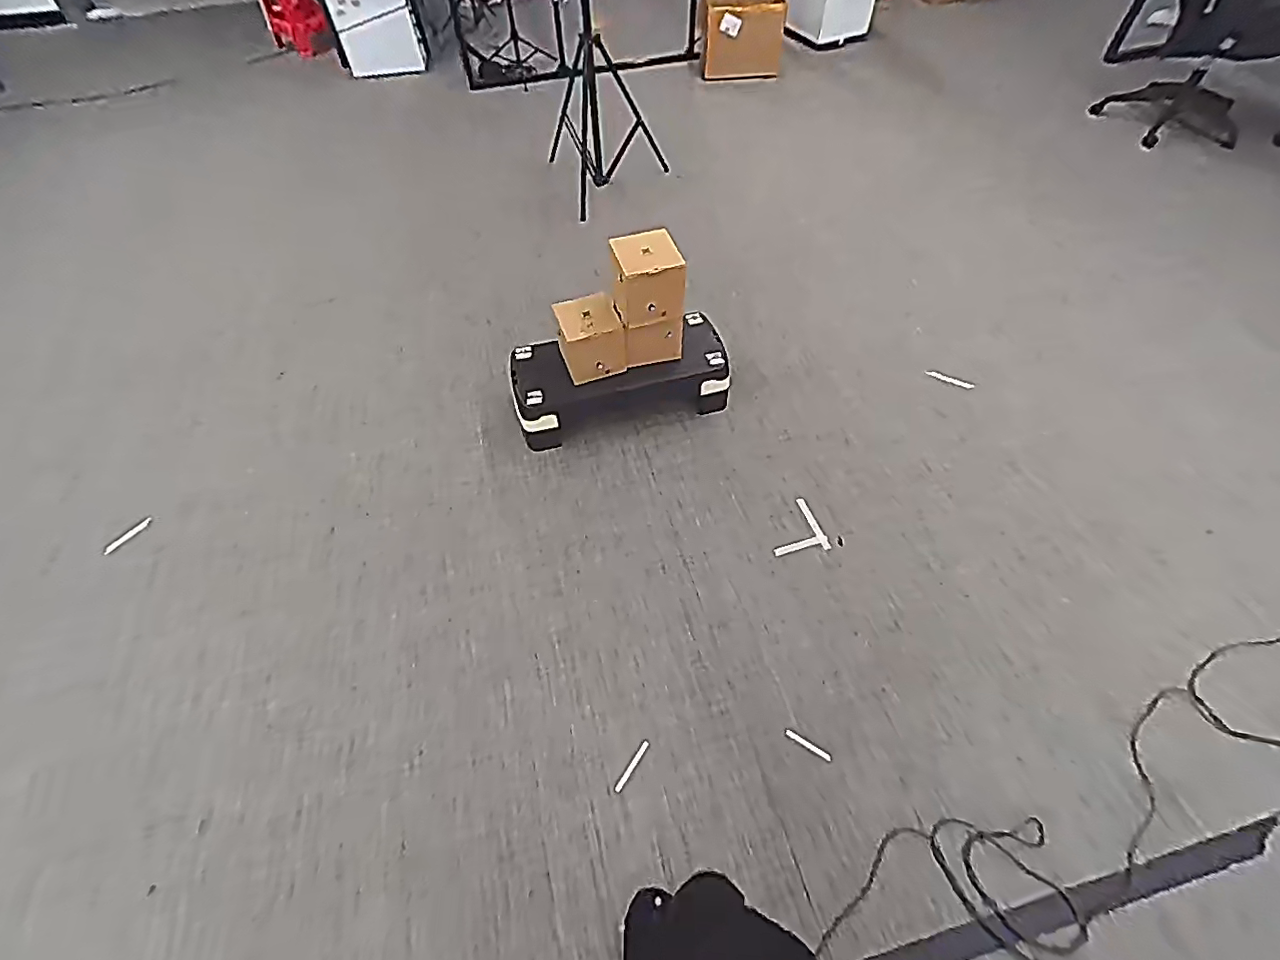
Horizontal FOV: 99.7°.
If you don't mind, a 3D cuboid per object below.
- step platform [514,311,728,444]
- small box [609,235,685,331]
[{"bbox_3d":[-0.062,-0.343,1.769,0.684,0.204,0.286,-14,55,-7],"label":"step platform"},{"bbox_3d":[0.016,-0.544,1.498,0.168,0.176,0.179,-15,57,-10],"label":"small box"}]
